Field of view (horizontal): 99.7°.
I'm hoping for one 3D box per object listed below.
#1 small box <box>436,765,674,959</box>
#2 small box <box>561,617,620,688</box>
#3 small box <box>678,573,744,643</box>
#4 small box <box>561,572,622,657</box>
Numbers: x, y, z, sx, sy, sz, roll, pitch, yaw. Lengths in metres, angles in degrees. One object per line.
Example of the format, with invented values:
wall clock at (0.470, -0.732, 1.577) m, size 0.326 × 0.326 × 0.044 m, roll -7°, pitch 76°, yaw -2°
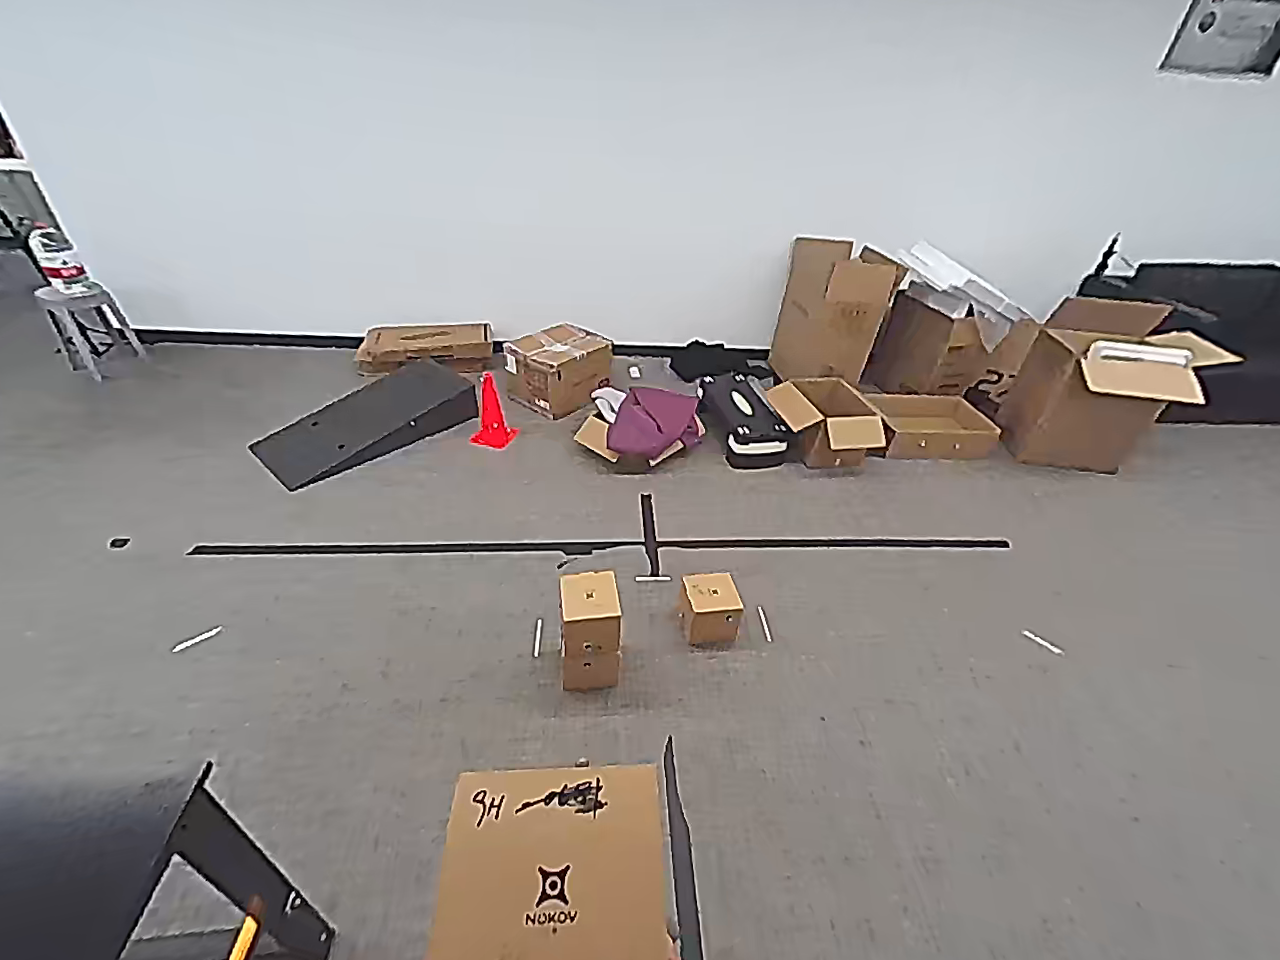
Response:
small box at (-0.058, 0.355, 0.447) m, size 0.168 × 0.176 × 0.179 m, roll -2°, pitch 48°, yaw -2°
small box at (-0.157, 0.539, 1.708) m, size 0.179 × 0.176 × 0.168 m, roll -1°, pitch 37°, yaw -8°
small box at (0.240, 0.446, 1.880) m, size 0.179 × 0.176 × 0.168 m, roll -3°, pitch 37°, yaw -11°
small box at (-0.149, 0.402, 1.621) m, size 0.168 × 0.176 × 0.179 m, roll -5°, pitch 38°, yaw -10°
